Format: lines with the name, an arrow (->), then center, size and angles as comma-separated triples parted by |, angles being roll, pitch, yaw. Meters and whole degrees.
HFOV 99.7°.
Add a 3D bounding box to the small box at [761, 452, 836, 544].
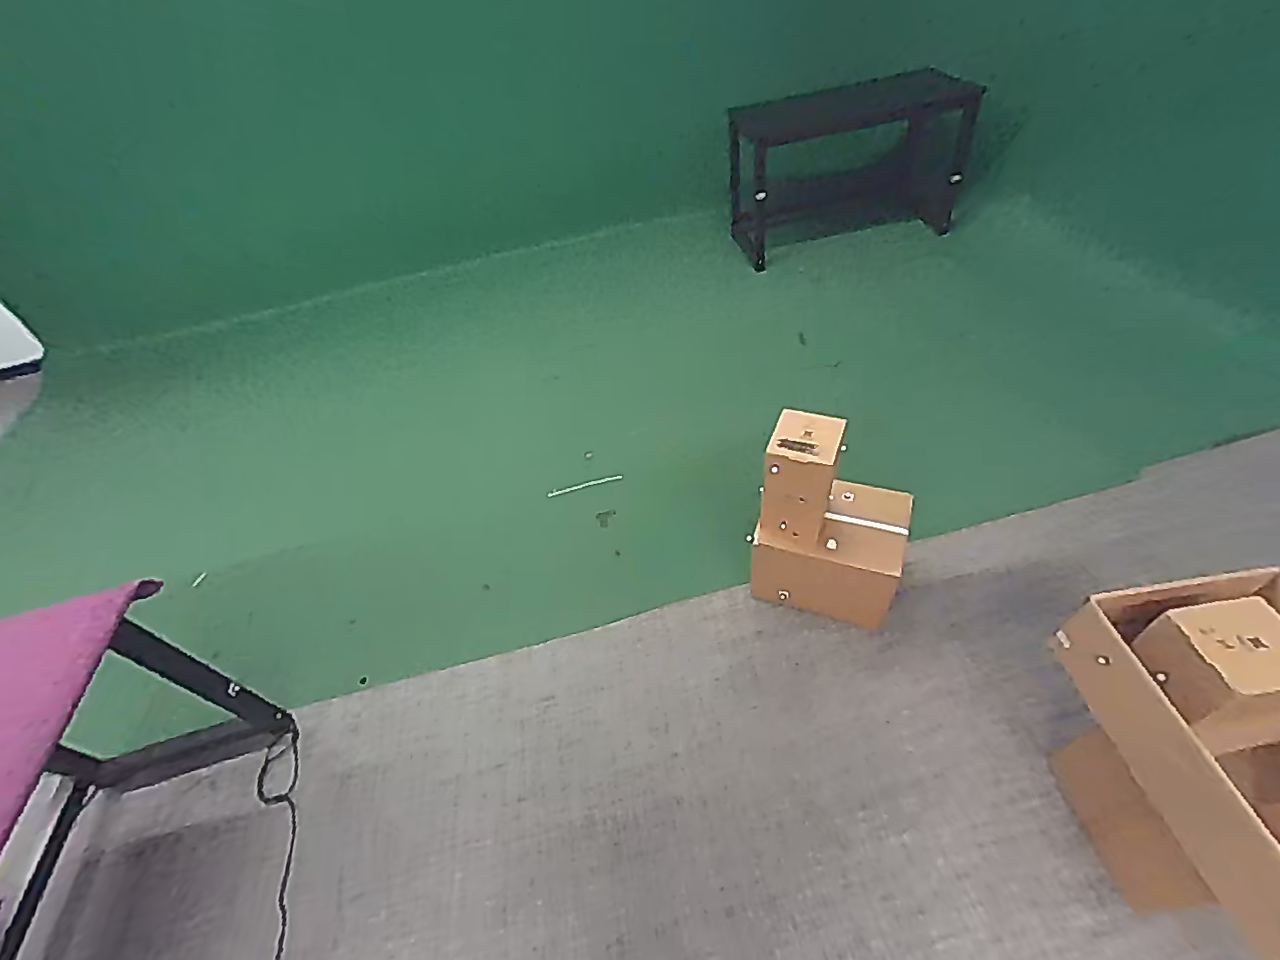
small box -> 0.451, 0.051, 1.551 | 0.168, 0.176, 0.179 | 15, 53, 21
